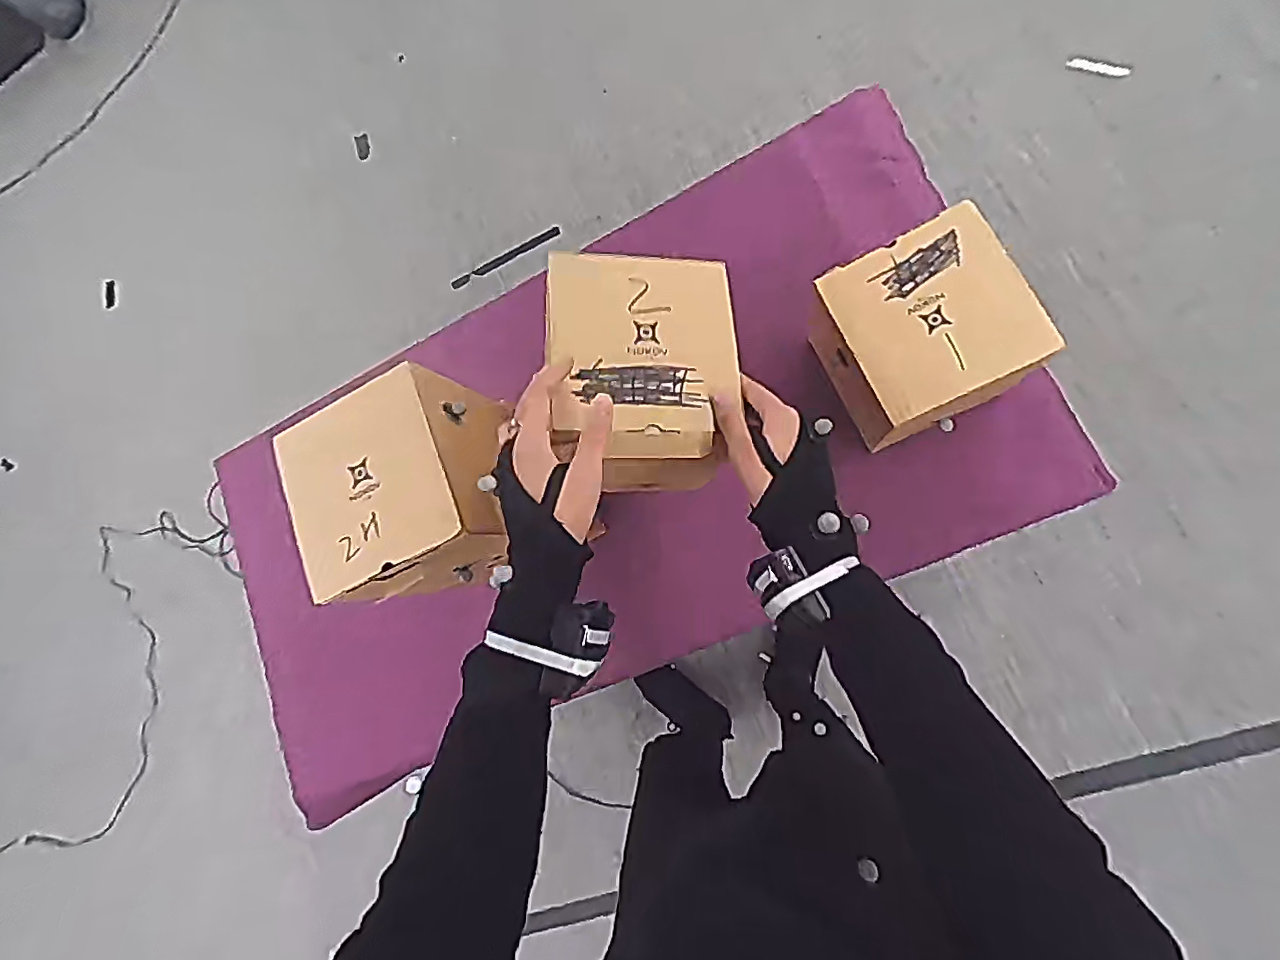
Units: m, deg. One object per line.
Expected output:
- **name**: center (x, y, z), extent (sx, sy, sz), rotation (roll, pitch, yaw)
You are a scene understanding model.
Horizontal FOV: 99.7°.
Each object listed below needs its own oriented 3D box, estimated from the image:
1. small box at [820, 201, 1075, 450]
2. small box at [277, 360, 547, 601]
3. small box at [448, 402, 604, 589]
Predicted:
- **small box**: center (0.311, -0.152, 0.596), extent (0.168, 0.176, 0.179), rotation (-26, 77, 12)
- **small box**: center (-0.223, 0.010, 0.560), extent (0.168, 0.176, 0.179), rotation (-25, 77, 11)
- **small box**: center (-0.168, 0.026, 0.715), extent (0.168, 0.176, 0.179), rotation (-27, 77, 11)
